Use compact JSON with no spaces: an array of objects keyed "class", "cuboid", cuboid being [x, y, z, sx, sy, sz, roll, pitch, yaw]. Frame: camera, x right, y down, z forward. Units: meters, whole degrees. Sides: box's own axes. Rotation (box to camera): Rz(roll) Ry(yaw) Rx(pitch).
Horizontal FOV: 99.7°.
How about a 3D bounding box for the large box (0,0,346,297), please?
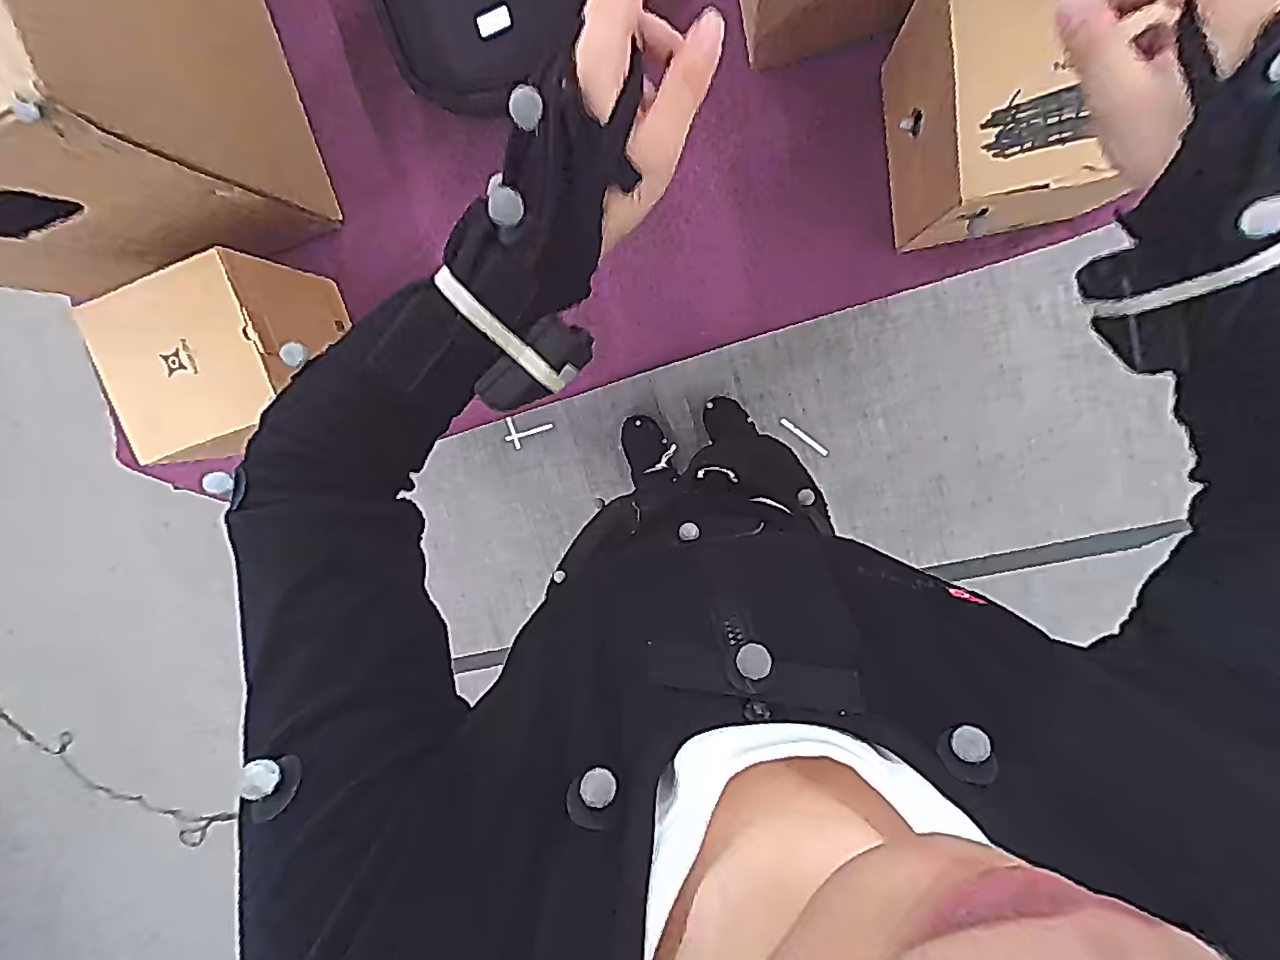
[{"class":"large box","cuboid":[-0.570,-0.430,0.504,0.320,0.320,0.408,-16,101,11]}]
